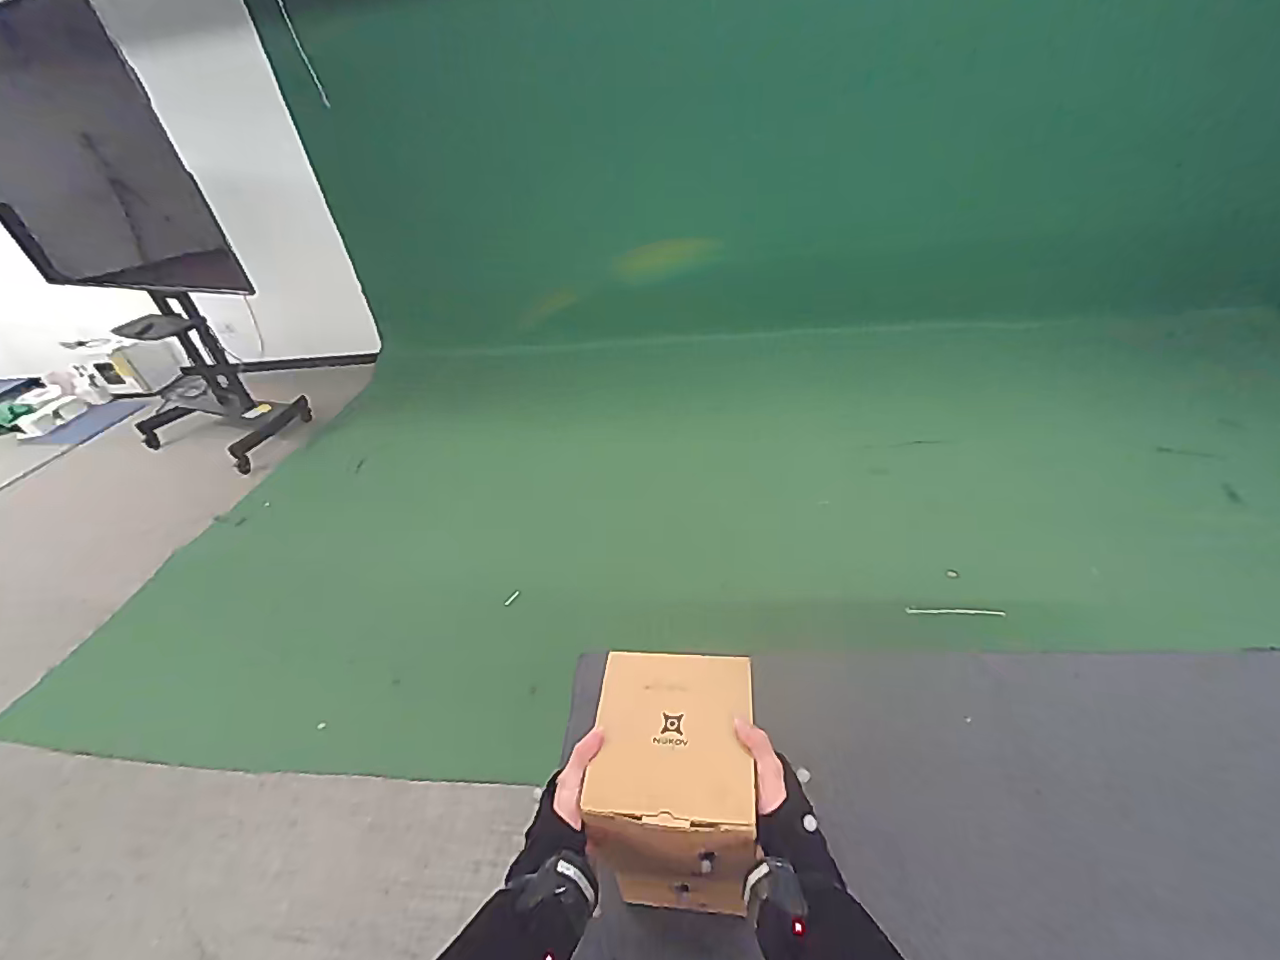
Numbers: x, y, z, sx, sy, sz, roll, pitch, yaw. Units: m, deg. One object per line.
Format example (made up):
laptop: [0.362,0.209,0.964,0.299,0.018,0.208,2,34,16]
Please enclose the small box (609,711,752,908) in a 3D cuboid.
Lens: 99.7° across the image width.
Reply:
small box: [0.062,0.436,0.718,0.168,0.176,0.179,0,38,8]
